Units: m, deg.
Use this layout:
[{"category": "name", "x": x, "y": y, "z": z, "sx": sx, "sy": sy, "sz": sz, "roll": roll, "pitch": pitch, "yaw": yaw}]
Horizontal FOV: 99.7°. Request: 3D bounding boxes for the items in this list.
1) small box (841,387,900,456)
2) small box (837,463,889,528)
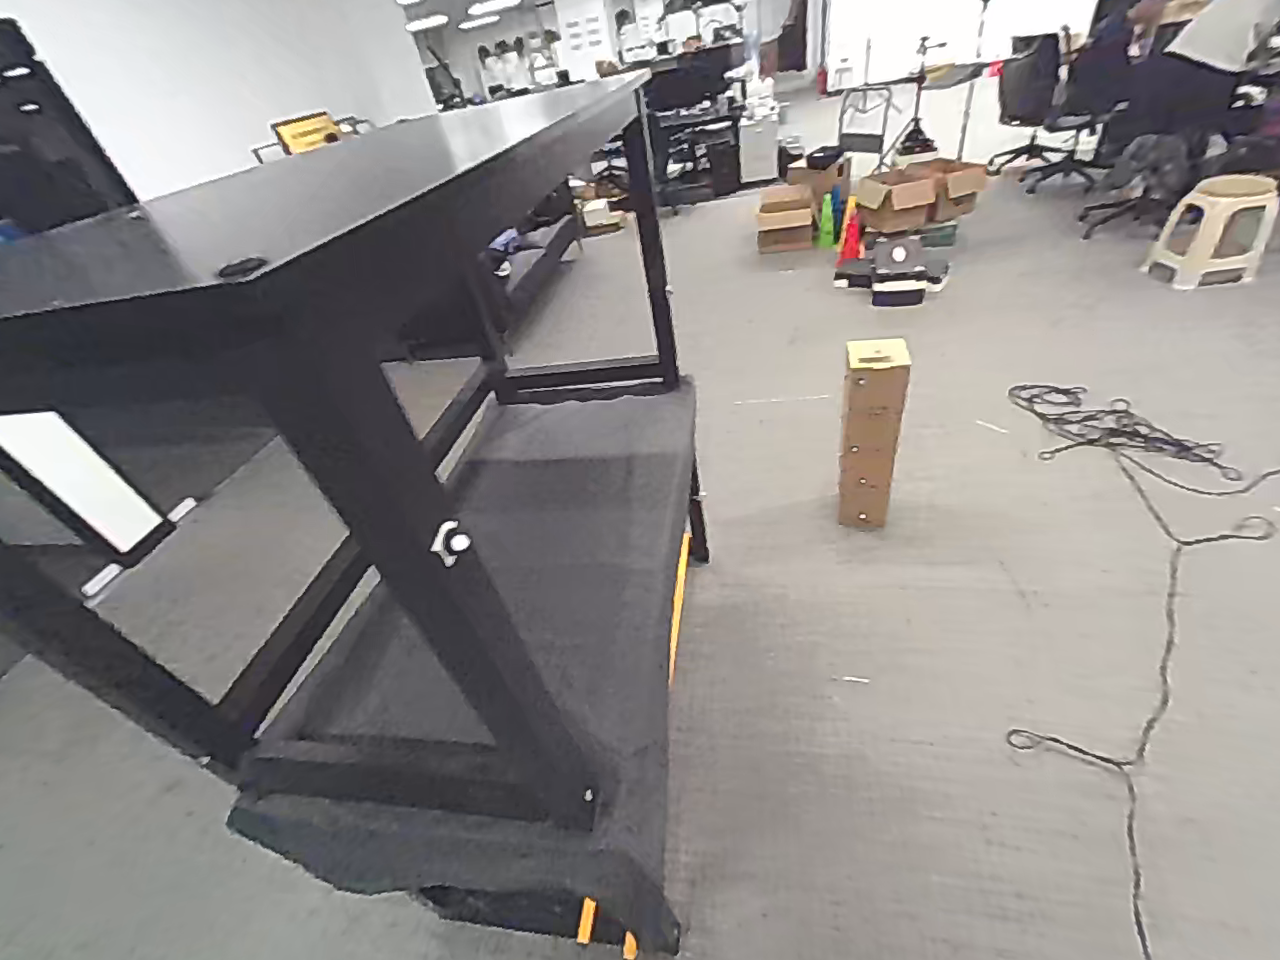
[{"category": "small box", "x": 0.767, "y": -0.193, "z": 1.811, "sx": 0.168, "sy": 0.176, "sz": 0.179, "roll": 1, "pitch": 40, "yaw": 16}, {"category": "small box", "x": 0.826, "y": 0.057, "z": 2.013, "sx": 0.168, "sy": 0.176, "sz": 0.179, "roll": 2, "pitch": 42, "yaw": 19}]
